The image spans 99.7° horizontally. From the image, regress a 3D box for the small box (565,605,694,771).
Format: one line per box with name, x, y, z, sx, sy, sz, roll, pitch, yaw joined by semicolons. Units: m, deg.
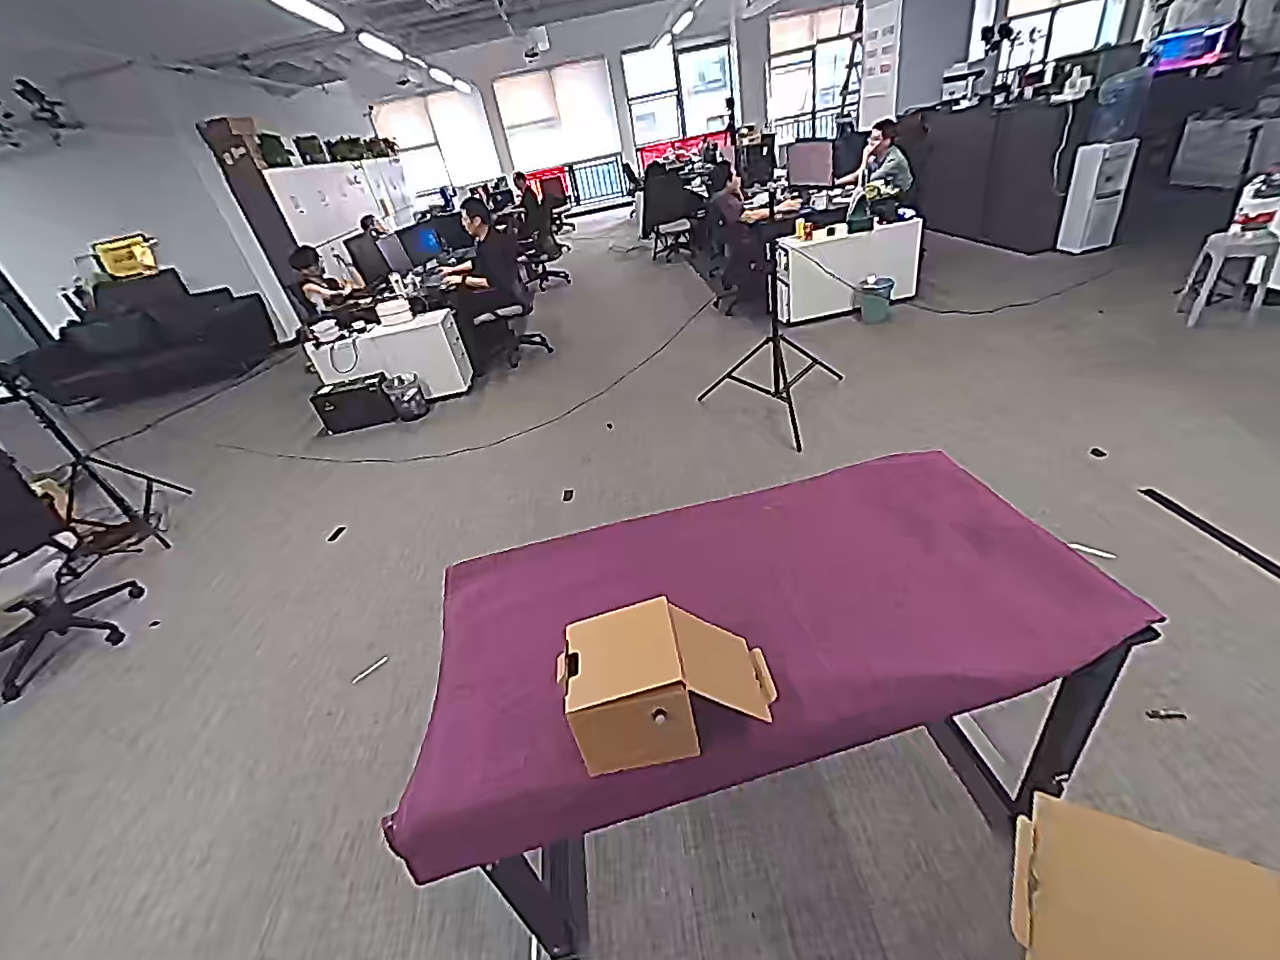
small box;-0.014;0.331;0.864;0.179;0.176;0.168;-12;32;1
